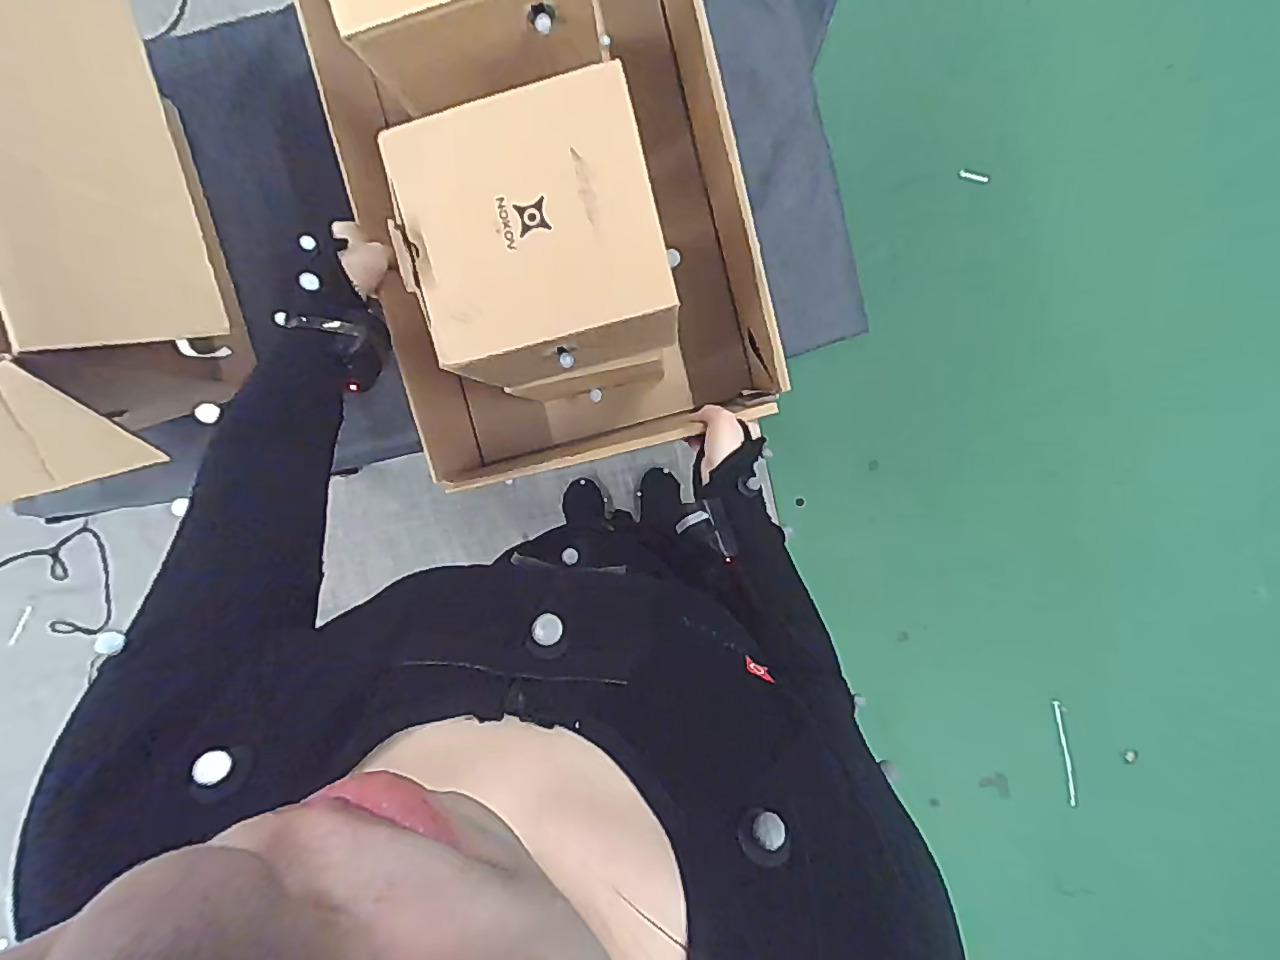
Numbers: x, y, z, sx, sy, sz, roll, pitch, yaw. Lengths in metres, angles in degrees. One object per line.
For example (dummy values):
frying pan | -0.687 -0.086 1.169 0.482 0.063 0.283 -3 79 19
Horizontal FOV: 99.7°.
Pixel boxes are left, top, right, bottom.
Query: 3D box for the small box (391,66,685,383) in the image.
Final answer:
small box | -0.066 -0.184 0.452 0.179 0.176 0.168 -15 96 4

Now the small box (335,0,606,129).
small box | -0.133 -0.405 0.433 0.179 0.176 0.168 -15 97 4
